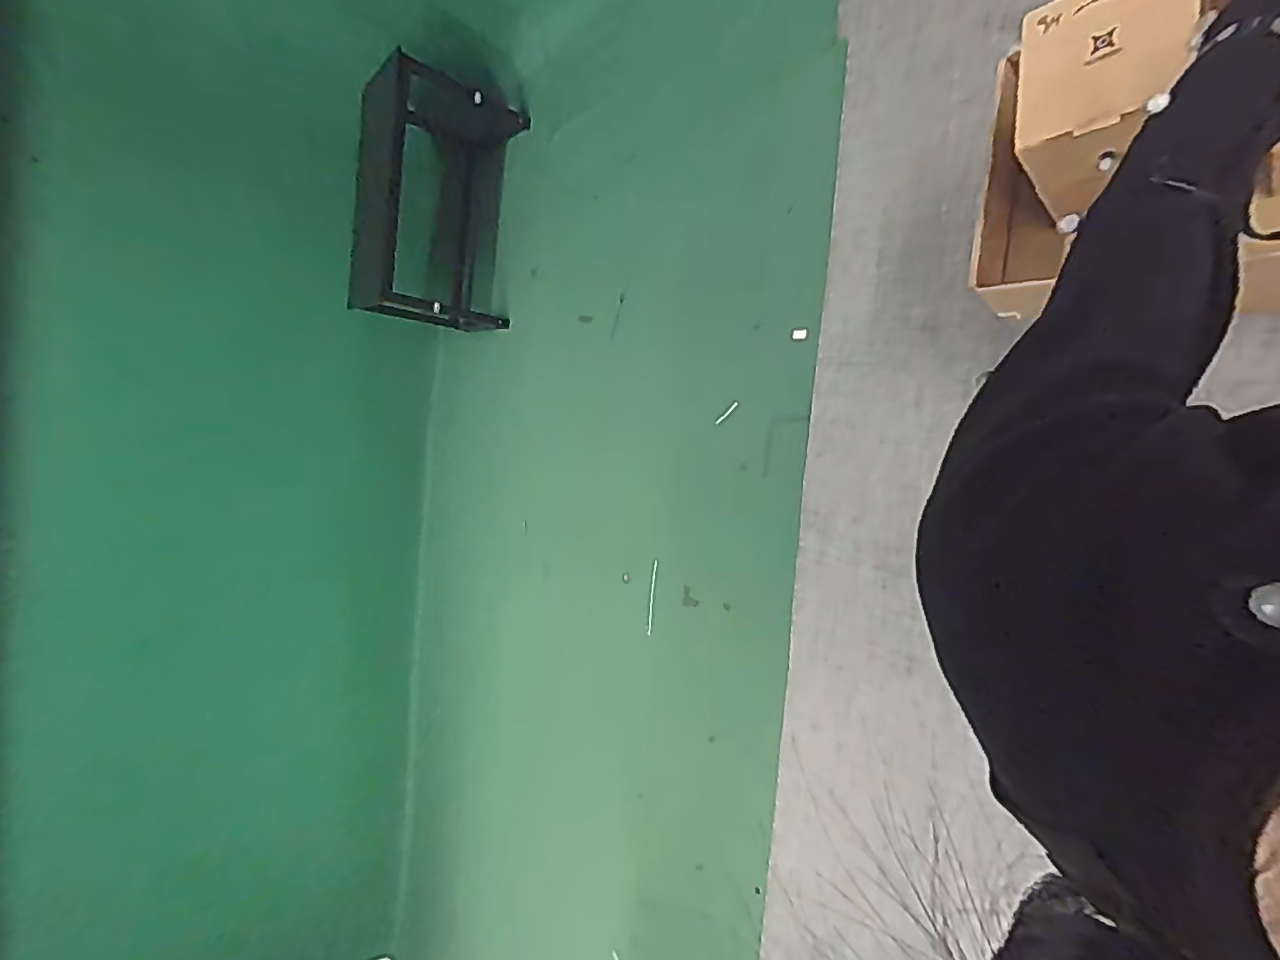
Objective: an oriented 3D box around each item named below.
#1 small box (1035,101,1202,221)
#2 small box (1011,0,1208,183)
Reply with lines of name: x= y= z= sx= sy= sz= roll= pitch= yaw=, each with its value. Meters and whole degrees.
small box: x=0.712 y=-0.520 z=0.804 sx=0.168 sy=0.176 sz=0.179 roll=4 pitch=93 yaw=48
small box: x=0.596 y=-0.507 z=0.688 sx=0.168 sy=0.176 sz=0.179 roll=5 pitch=93 yaw=47
